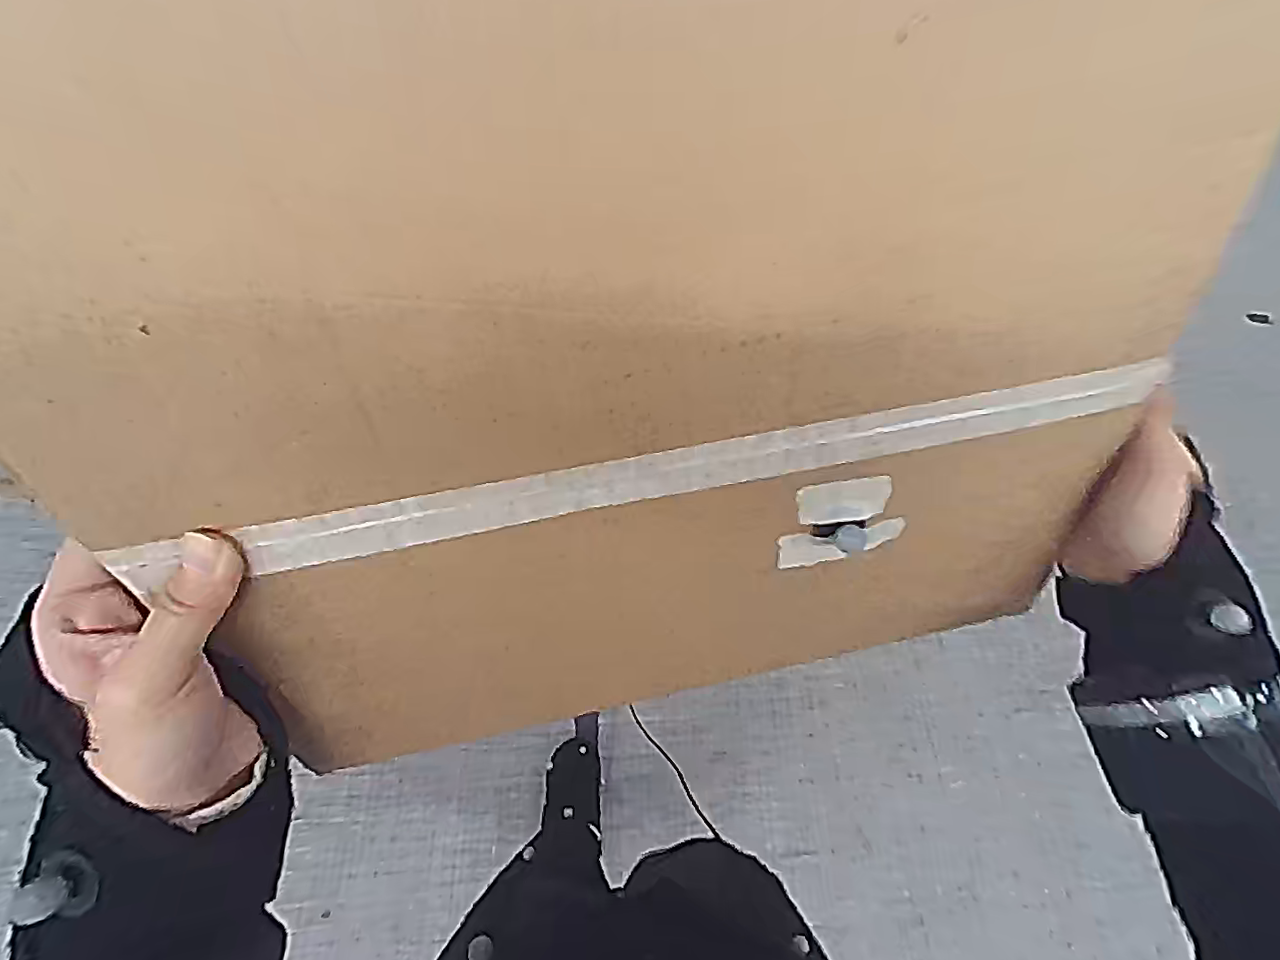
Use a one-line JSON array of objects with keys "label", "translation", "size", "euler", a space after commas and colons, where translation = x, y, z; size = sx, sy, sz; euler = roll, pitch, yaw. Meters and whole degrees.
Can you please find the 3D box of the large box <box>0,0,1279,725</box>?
[{"label": "large box", "translation": [-0.008, -0.120, 0.322], "size": [0.408, 0.320, 0.320], "euler": [-11, 38, -6]}]
